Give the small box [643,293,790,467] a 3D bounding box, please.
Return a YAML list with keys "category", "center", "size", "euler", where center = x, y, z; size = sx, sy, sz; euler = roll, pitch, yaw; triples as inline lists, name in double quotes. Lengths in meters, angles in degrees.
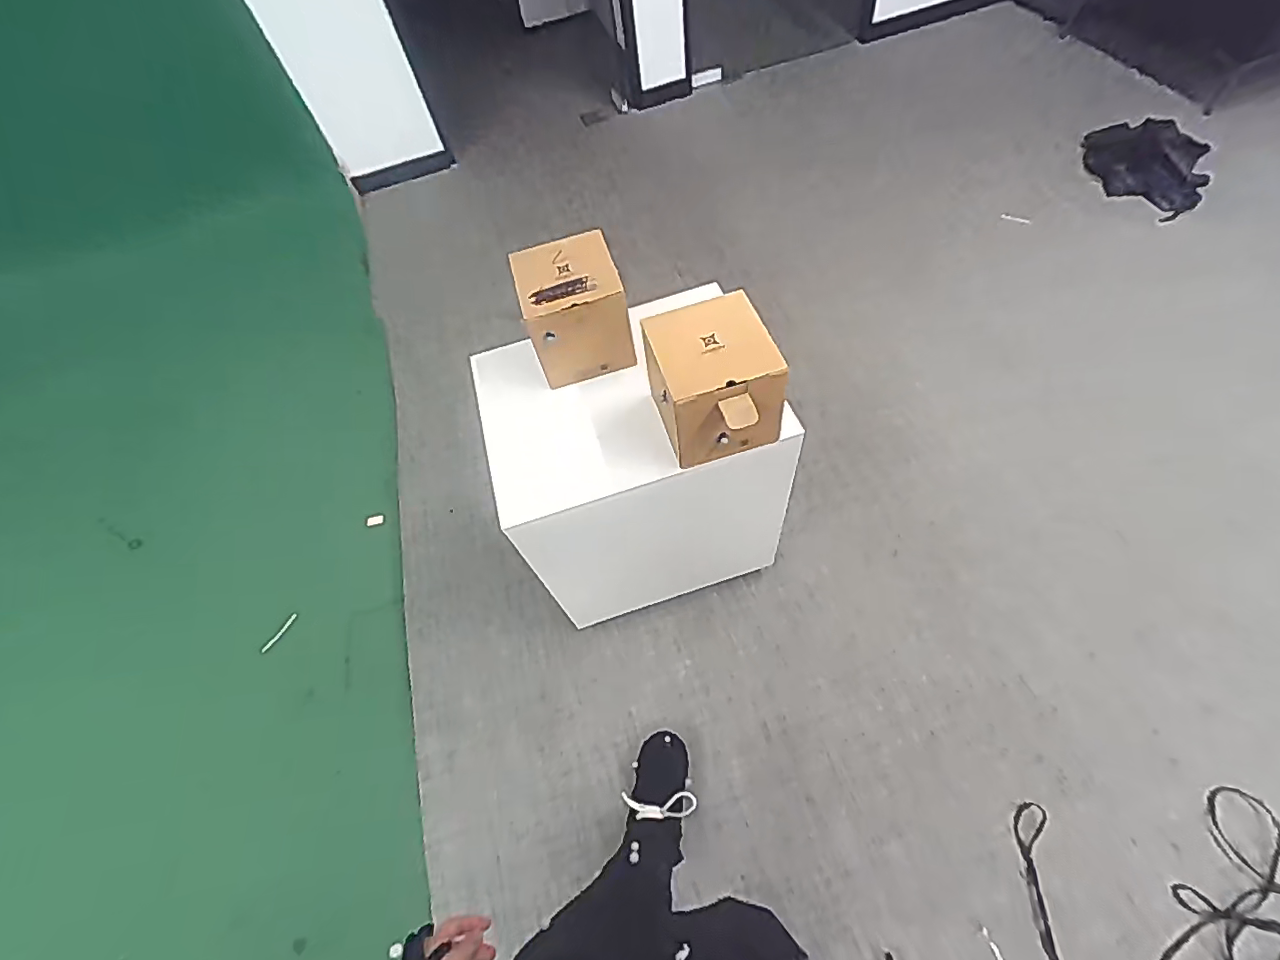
- category: "small box"
  center: [0.111, -0.150, 0.834]
  size: [0.168, 0.176, 0.179]
  euler: [-17, 58, -3]
